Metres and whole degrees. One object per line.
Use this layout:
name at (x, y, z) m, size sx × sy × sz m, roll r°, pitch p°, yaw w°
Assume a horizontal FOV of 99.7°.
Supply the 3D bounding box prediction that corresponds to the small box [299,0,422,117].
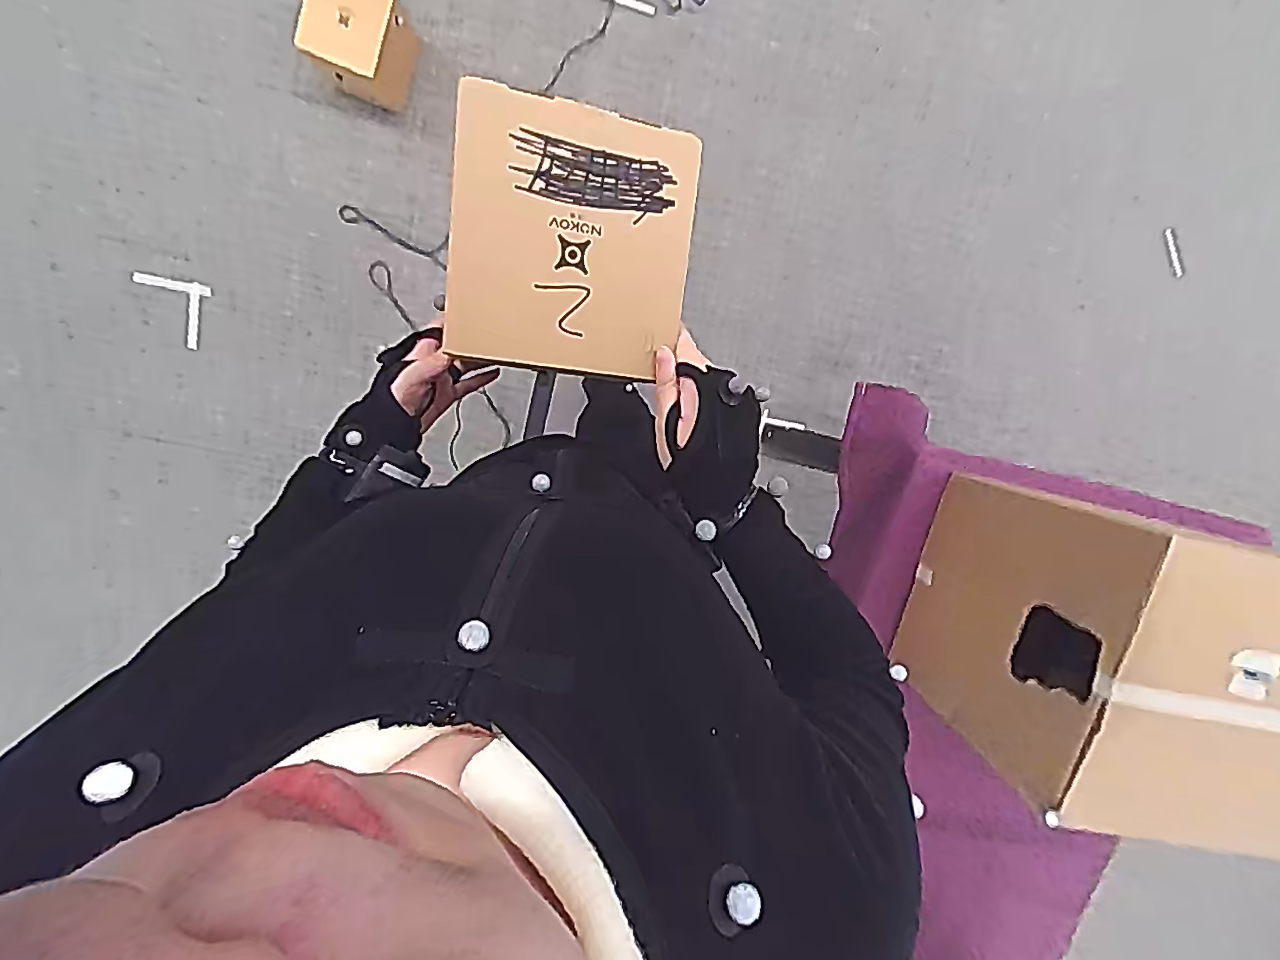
small box at (-0.600, -0.943, 1.182) m, size 0.168 × 0.176 × 0.179 m, roll 19°, pitch 98°, yaw -7°
